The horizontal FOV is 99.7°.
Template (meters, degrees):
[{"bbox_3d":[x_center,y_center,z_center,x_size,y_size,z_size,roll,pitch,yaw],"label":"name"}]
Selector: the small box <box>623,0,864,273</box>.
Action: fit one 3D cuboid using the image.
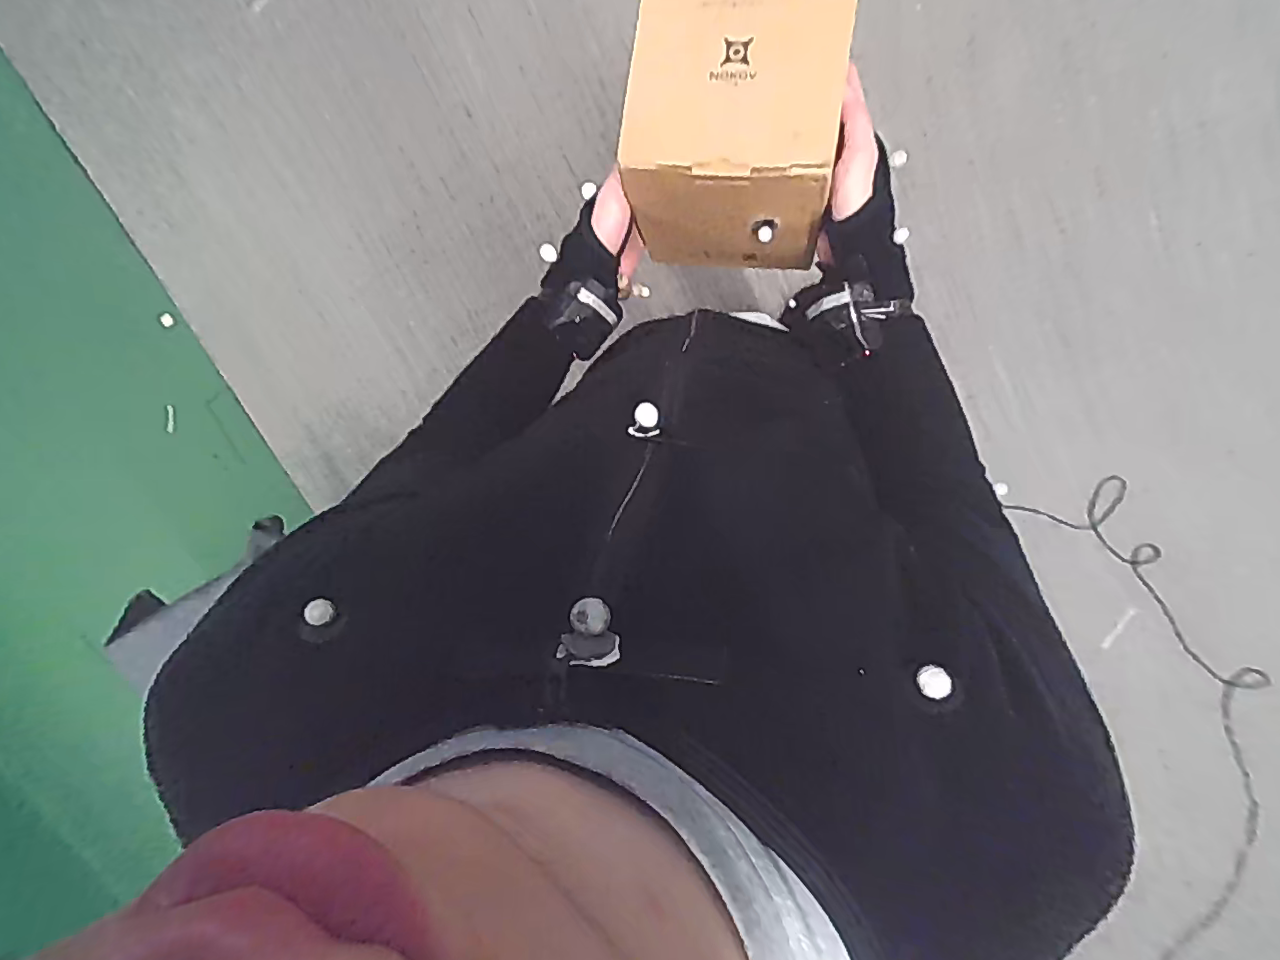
[{"bbox_3d":[0.092,-0.309,0.489,0.168,0.176,0.179,8,85,11],"label":"small box"}]
